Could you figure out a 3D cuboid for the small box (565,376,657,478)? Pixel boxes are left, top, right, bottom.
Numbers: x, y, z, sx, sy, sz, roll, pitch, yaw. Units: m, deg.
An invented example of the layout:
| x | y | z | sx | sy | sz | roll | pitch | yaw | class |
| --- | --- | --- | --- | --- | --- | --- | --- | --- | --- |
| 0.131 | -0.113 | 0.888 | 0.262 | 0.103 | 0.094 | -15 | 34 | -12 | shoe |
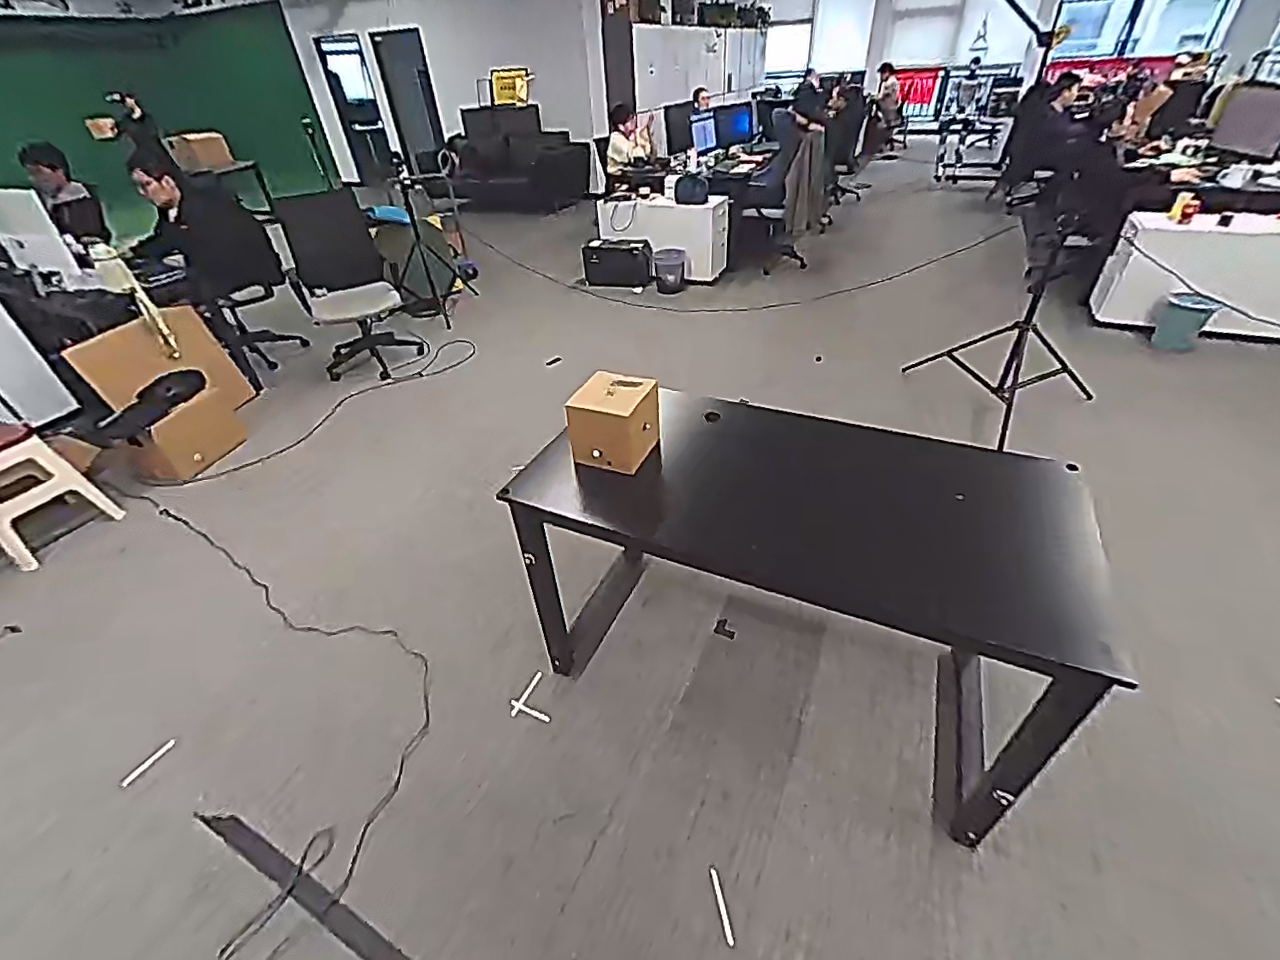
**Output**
| x | y | z | sx | sy | sz | roll | pitch | yaw | class |
| --- | --- | --- | --- | --- | --- | --- | --- | --- | --- |
| -0.065 | -0.133 | 1.330 | 0.168 | 0.176 | 0.179 | 13 | 42 | 20 | small box |
